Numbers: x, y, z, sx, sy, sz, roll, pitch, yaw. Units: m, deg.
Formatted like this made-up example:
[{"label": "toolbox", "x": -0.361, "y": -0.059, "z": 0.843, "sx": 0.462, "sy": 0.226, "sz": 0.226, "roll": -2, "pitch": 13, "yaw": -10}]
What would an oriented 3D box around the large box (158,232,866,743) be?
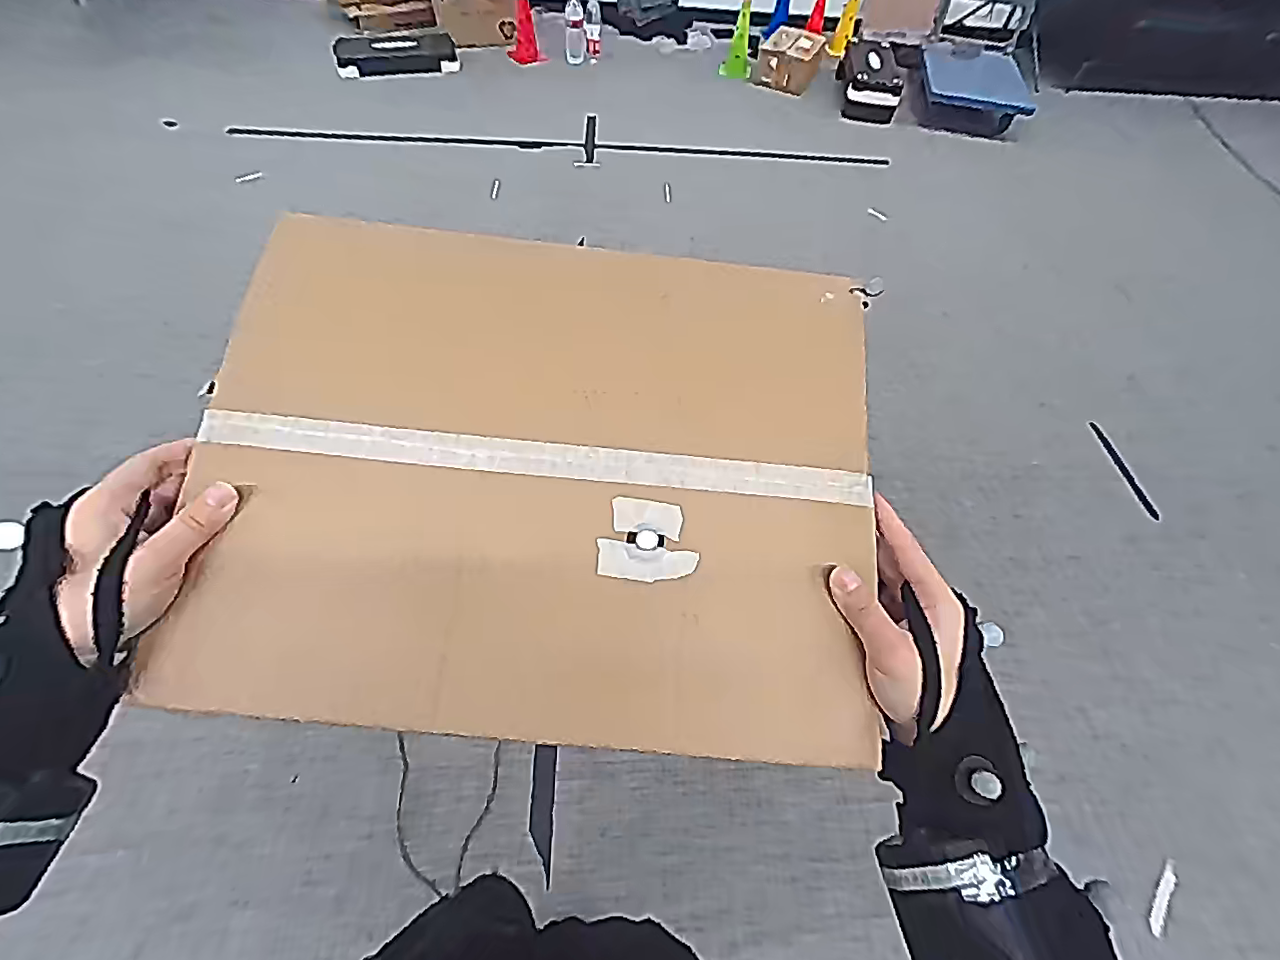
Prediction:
[{"label": "large box", "x": -0.066, "y": 0.030, "z": 0.486, "sx": 0.408, "sy": 0.320, "sz": 0.320, "roll": 6, "pitch": 74, "yaw": -2}]
